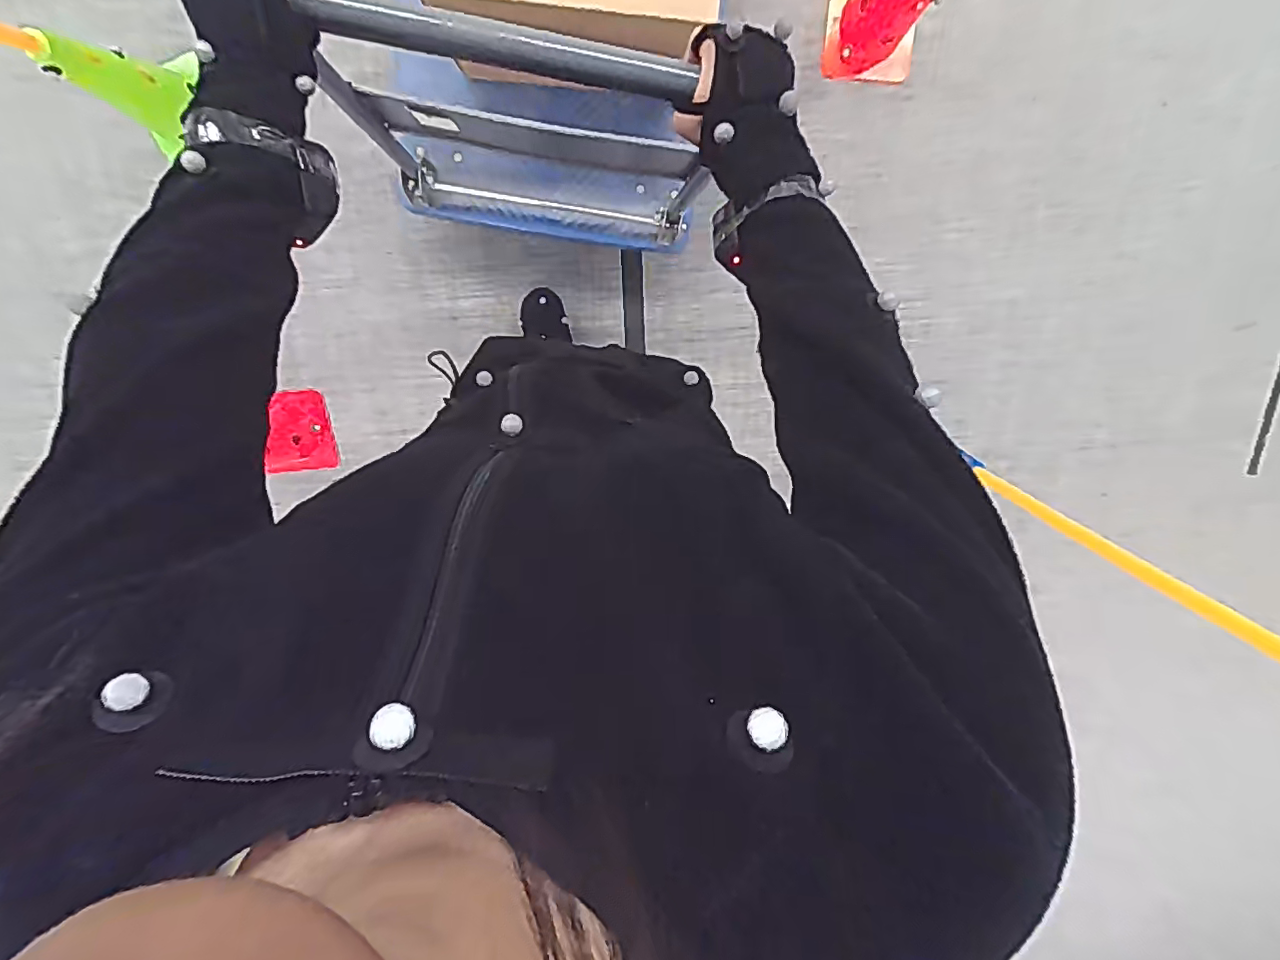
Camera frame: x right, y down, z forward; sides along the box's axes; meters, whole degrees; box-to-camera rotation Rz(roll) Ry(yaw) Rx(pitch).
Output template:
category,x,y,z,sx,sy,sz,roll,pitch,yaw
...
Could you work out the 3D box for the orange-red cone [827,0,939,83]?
category,x,y,z,sx,sy,sz,roll,pitch,yaw
orange-red cone,0.529,-0.927,1.008,0.199,0.360,0.198,2,109,-7
